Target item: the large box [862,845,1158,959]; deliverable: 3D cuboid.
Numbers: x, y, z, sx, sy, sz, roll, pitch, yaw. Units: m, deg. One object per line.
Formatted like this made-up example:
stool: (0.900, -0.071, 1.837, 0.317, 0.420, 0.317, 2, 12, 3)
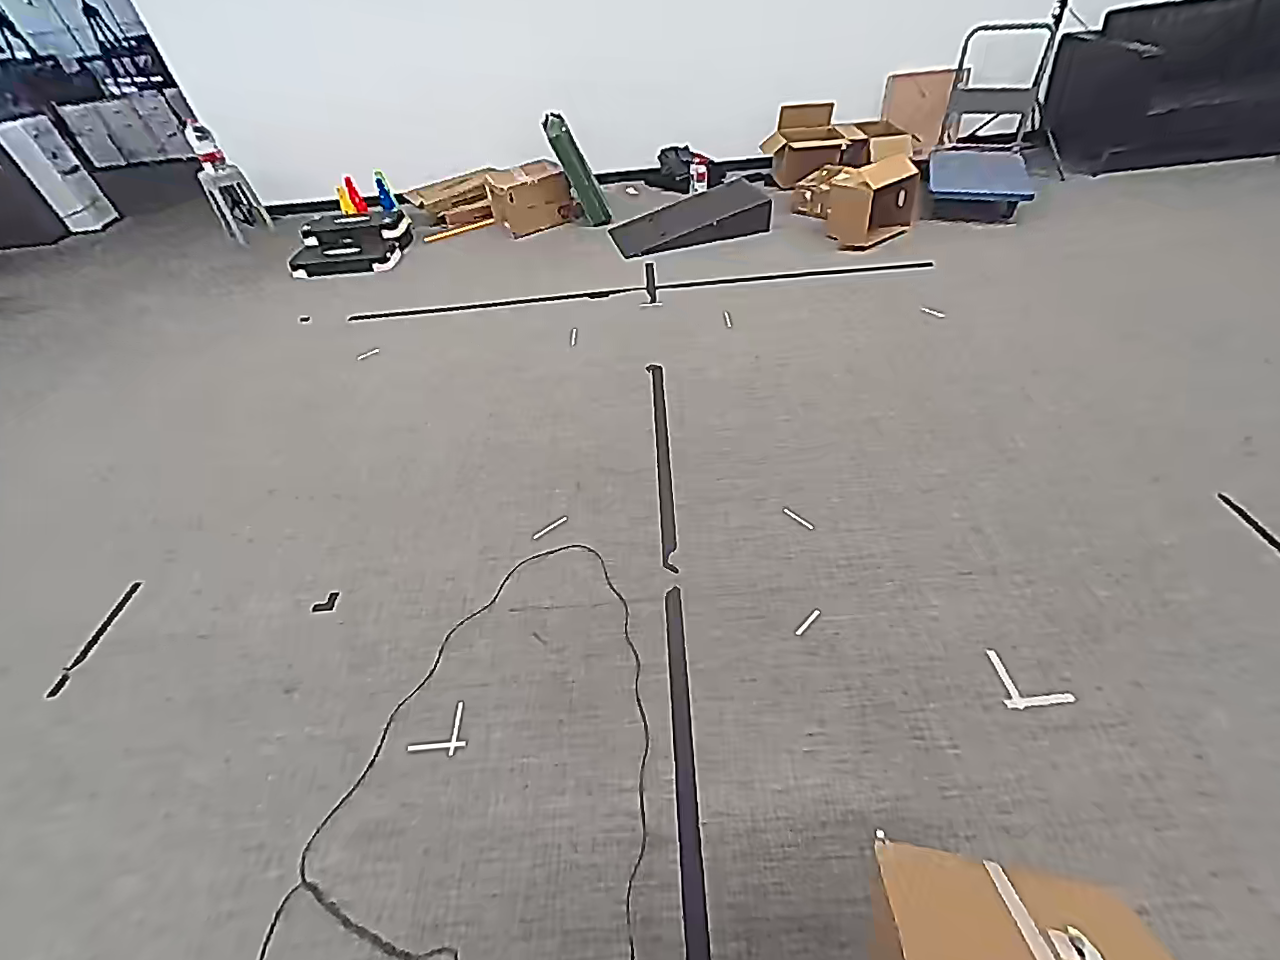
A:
large box: (0.444, 0.714, 0.596, 0.320, 0.408, 0.320, 5, 92, 13)
